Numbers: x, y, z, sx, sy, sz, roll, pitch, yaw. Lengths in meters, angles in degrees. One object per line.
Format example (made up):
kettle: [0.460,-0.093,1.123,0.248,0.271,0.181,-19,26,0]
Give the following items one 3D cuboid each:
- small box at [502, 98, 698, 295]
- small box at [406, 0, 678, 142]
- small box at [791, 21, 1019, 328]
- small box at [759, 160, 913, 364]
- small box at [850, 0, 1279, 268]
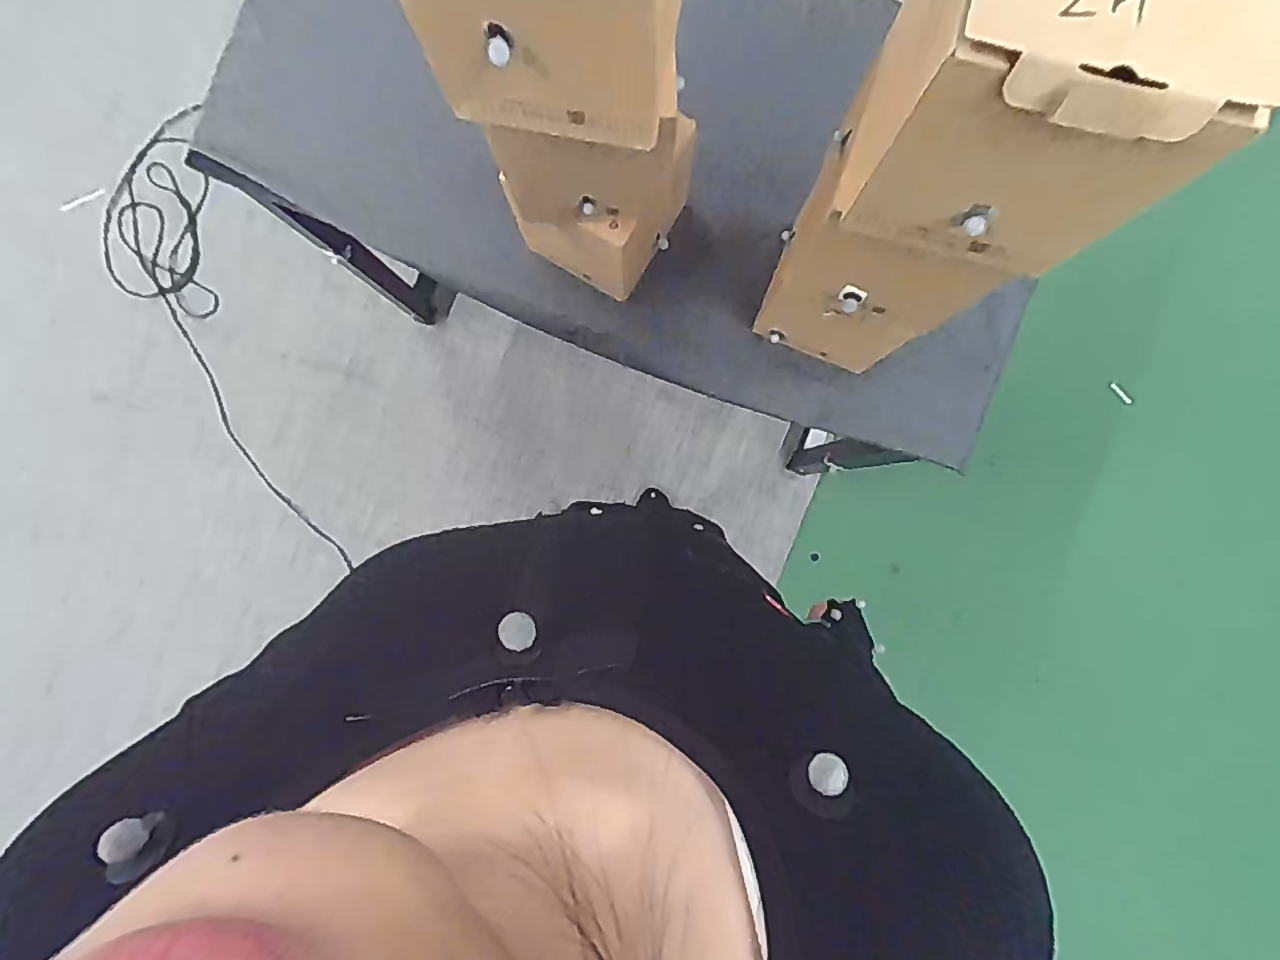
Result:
small box: [-0.048,-0.375,0.693,0.168,0.176,0.179,31,87,1]
small box: [-0.056,-0.370,0.365,0.168,0.176,0.179,10,88,0]
small box: [0.263,-0.275,0.525,0.168,0.176,0.179,18,88,2]
small box: [0.265,-0.270,0.687,0.168,0.176,0.179,22,86,1]
small box: [0.261,-0.276,0.359,0.168,0.176,0.179,15,87,3]
